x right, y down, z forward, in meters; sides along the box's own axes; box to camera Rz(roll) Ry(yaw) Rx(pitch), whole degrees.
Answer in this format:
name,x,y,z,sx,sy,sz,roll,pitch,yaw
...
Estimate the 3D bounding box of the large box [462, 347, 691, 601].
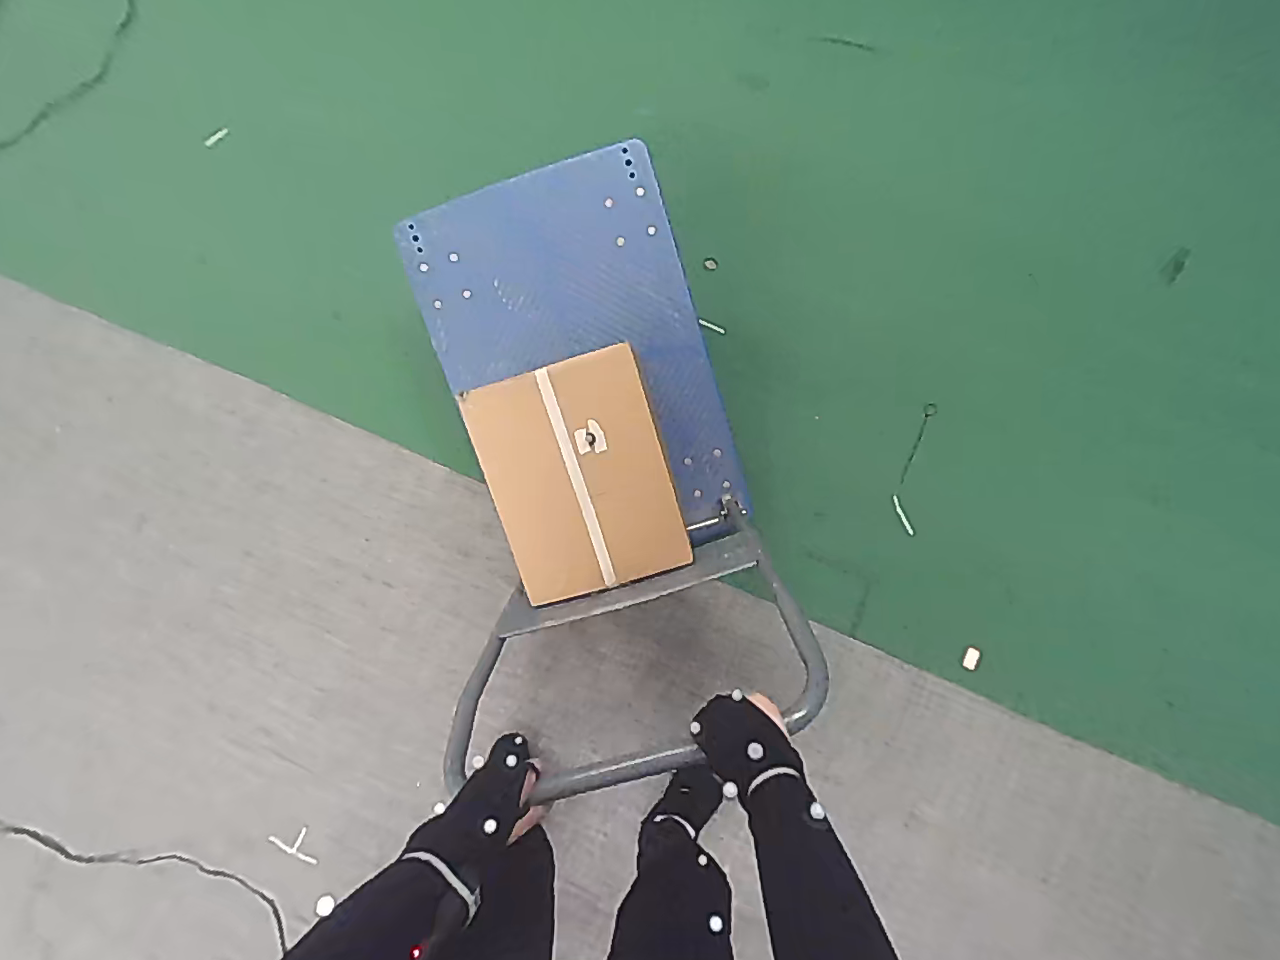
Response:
name,x,y,z,sx,sy,sz,roll,pitch,yaw
large box,-0.105,-0.025,1.119,0.320,0.320,0.408,-17,99,4
